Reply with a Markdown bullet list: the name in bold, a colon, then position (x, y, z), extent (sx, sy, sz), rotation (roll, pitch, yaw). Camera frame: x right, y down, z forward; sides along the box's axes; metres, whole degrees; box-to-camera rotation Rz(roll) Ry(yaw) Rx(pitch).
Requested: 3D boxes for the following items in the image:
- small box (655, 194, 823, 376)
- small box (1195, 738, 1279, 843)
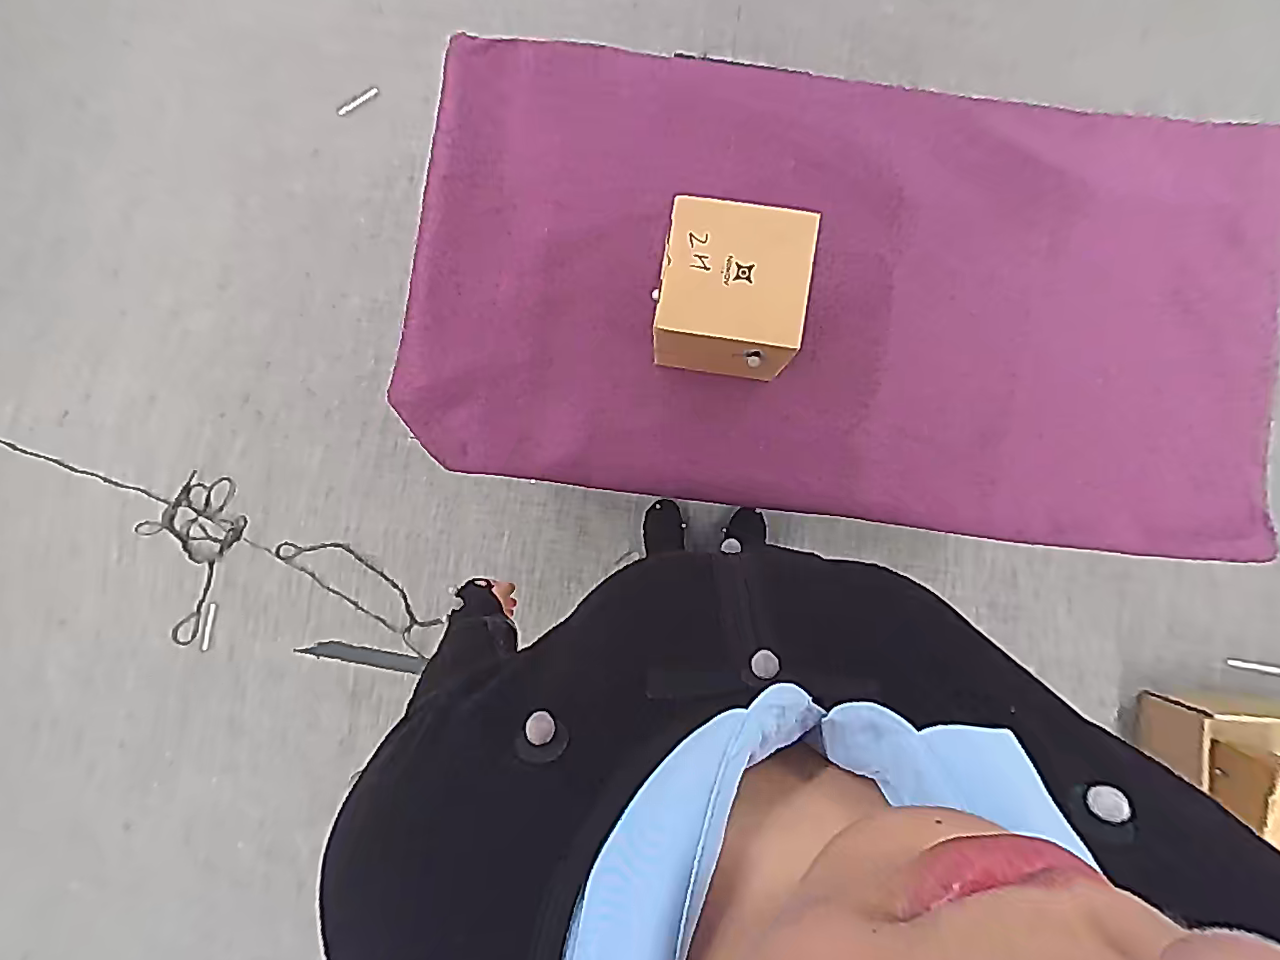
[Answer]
- **small box**: position (0.120, -0.242, 0.713), extent (0.179, 0.176, 0.168), rotation (9, 88, 4)
- **small box**: position (1.496, 0.742, 1.279), extent (0.179, 0.176, 0.168), rotation (14, 90, 3)
